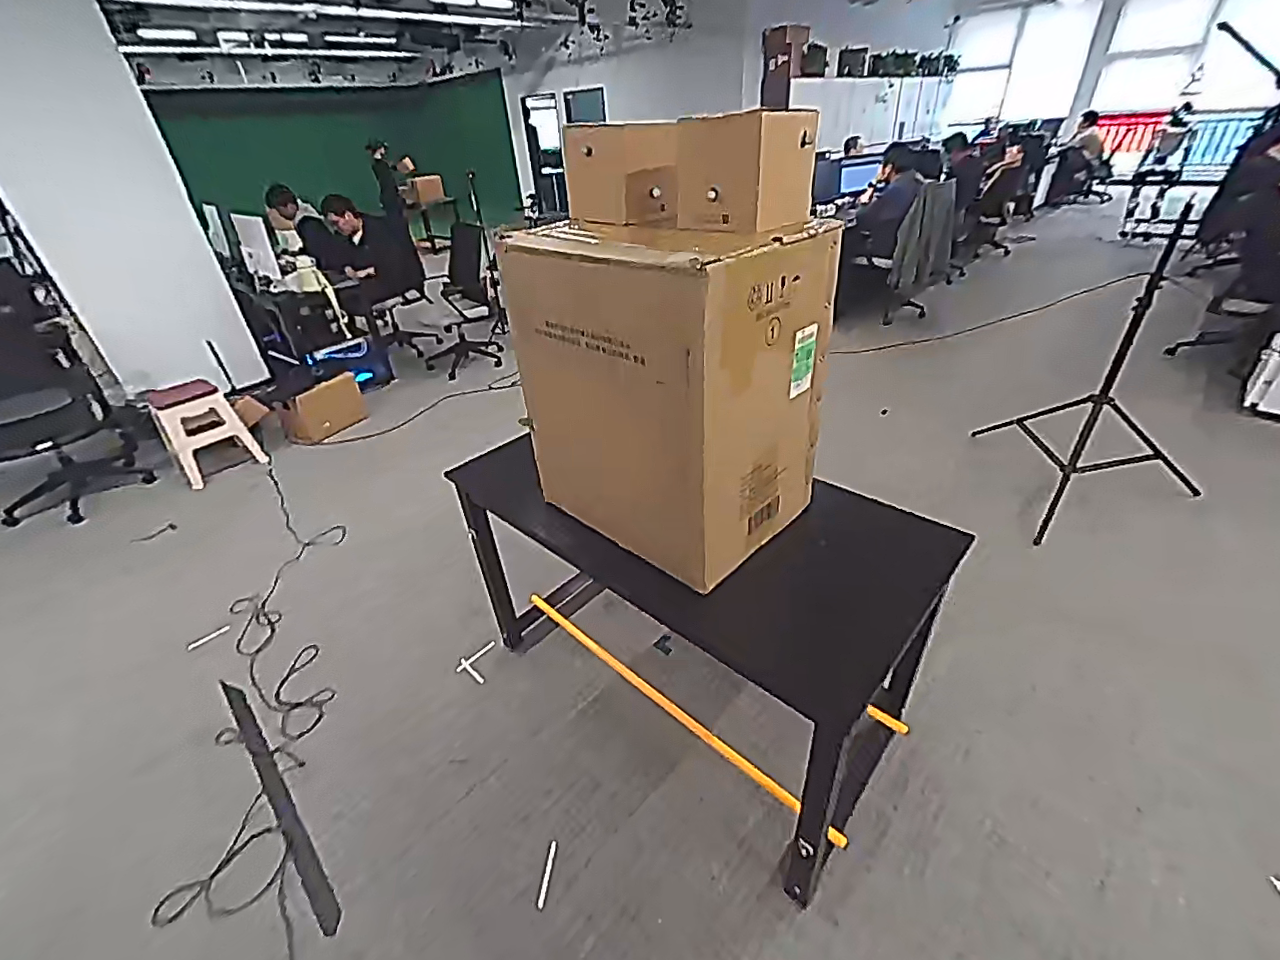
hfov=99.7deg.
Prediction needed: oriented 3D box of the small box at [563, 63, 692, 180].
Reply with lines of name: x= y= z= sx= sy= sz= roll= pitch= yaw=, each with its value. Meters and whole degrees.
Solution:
small box: x=-0.021 y=-0.662 z=1.010 sx=0.179 sy=0.176 sz=0.168 roll=27 pitch=44 yaw=36

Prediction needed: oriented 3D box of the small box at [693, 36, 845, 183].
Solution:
small box: x=0.195 y=-0.569 z=0.846 sx=0.168 sy=0.176 sz=0.179 roll=23 pitch=40 yaw=37
